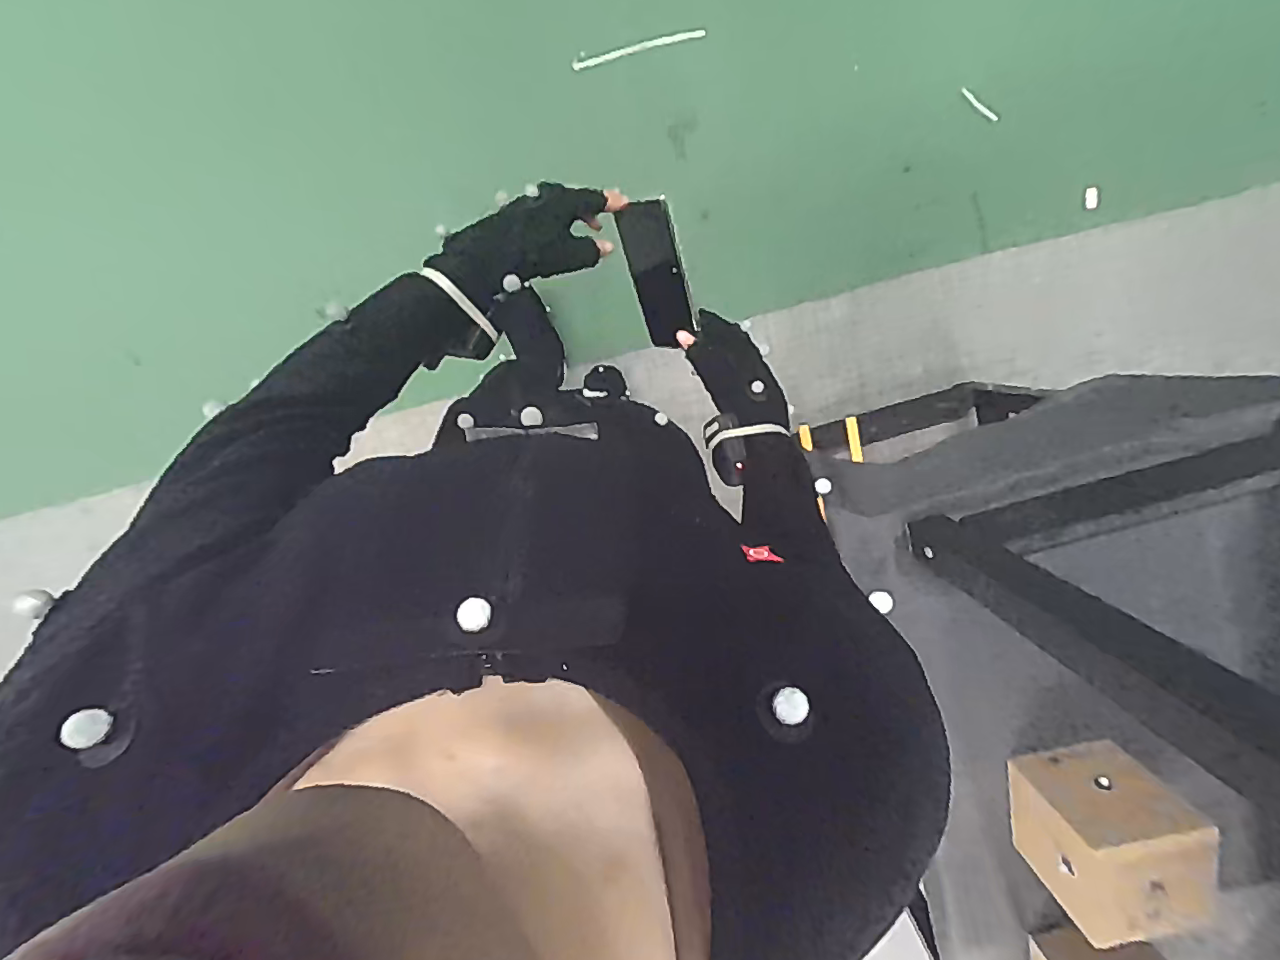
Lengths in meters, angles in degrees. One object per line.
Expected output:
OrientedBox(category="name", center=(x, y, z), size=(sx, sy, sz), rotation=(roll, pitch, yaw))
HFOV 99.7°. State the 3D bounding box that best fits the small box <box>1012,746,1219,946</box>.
OrientedBox(category="small box", center=(0.688, 0.524, 0.801), size=(0.168, 0.176, 0.179), rotation=(-13, 103, 2))
